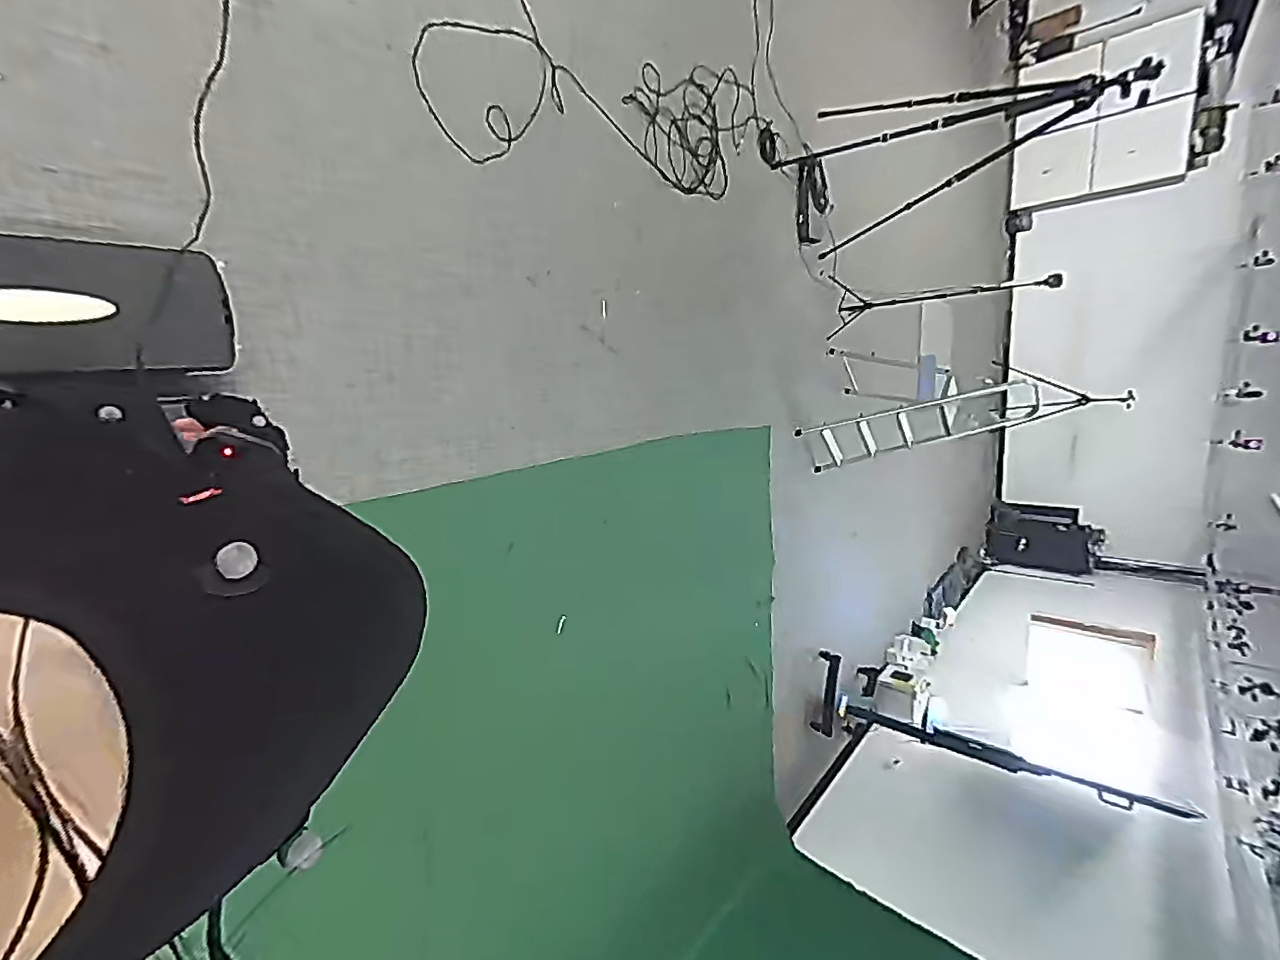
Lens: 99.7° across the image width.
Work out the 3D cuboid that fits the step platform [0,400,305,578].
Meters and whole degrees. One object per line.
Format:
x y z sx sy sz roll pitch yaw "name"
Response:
-1.036 0.019 0.996 0.684 0.204 0.286 -16 106 -47 "step platform"
